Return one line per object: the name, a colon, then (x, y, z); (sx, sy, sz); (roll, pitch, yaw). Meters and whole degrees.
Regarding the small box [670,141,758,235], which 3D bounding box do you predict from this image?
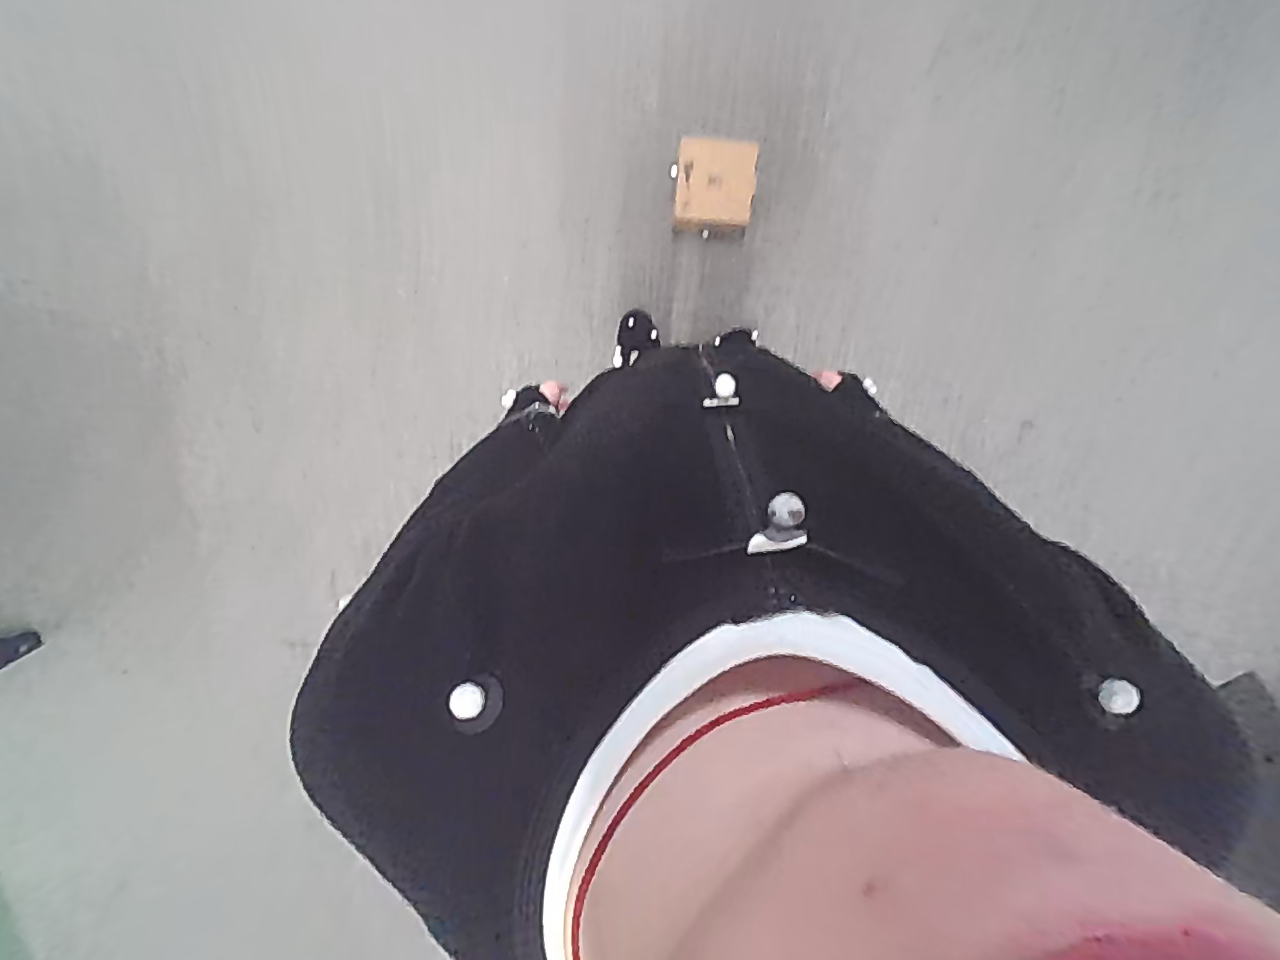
small box: (0.170, -0.692, 1.300); (0.179, 0.176, 0.168); (4, 107, -2)
